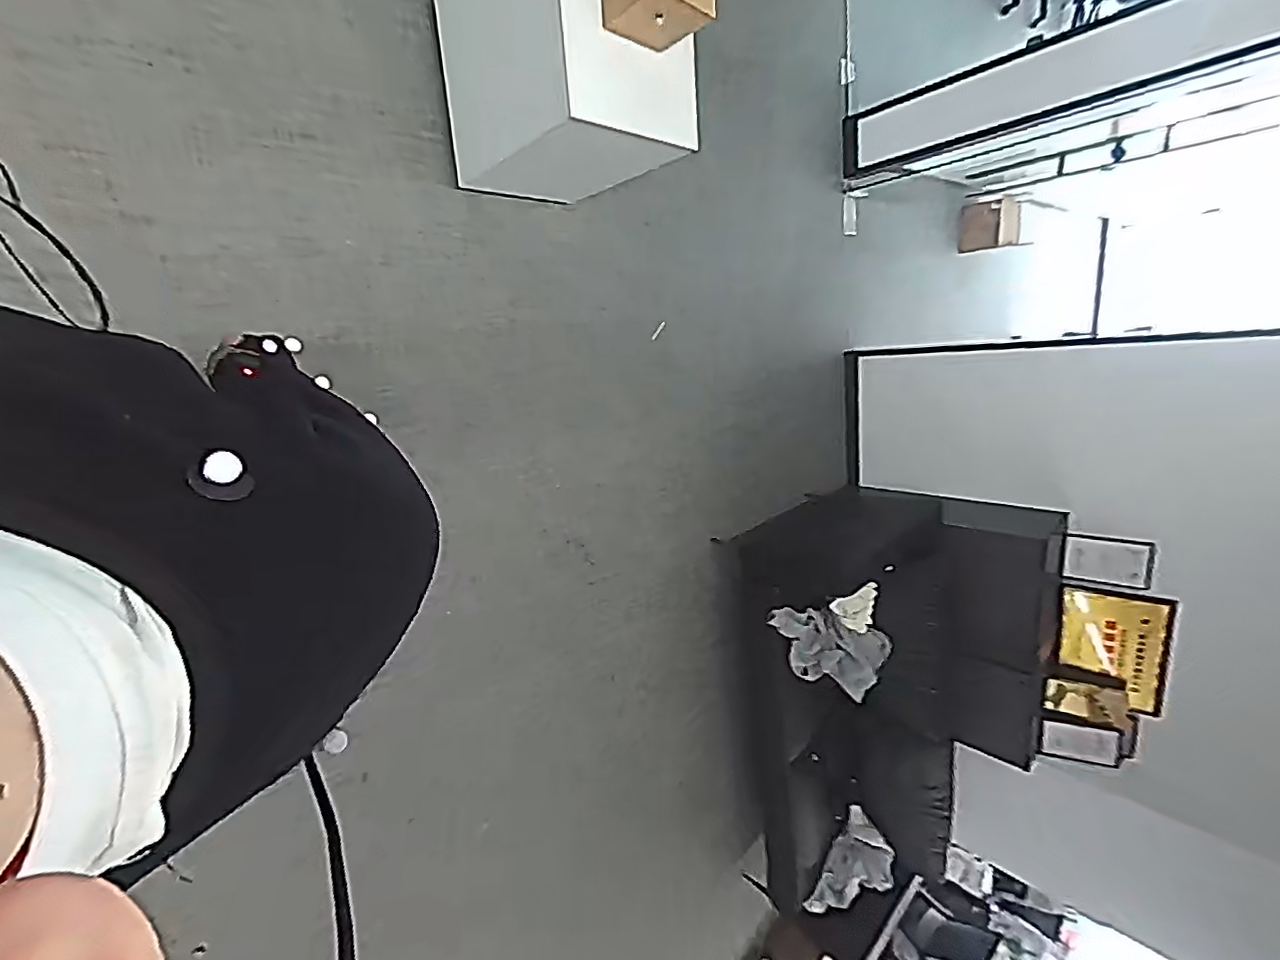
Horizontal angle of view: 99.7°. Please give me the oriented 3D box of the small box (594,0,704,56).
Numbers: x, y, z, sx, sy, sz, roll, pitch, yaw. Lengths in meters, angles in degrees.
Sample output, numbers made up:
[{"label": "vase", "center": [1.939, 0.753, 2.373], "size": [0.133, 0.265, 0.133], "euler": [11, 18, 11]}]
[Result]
[{"label": "small box", "center": [0.011, -1.040, 1.140], "size": [0.179, 0.176, 0.168], "euler": [-19, 109, -41]}]
